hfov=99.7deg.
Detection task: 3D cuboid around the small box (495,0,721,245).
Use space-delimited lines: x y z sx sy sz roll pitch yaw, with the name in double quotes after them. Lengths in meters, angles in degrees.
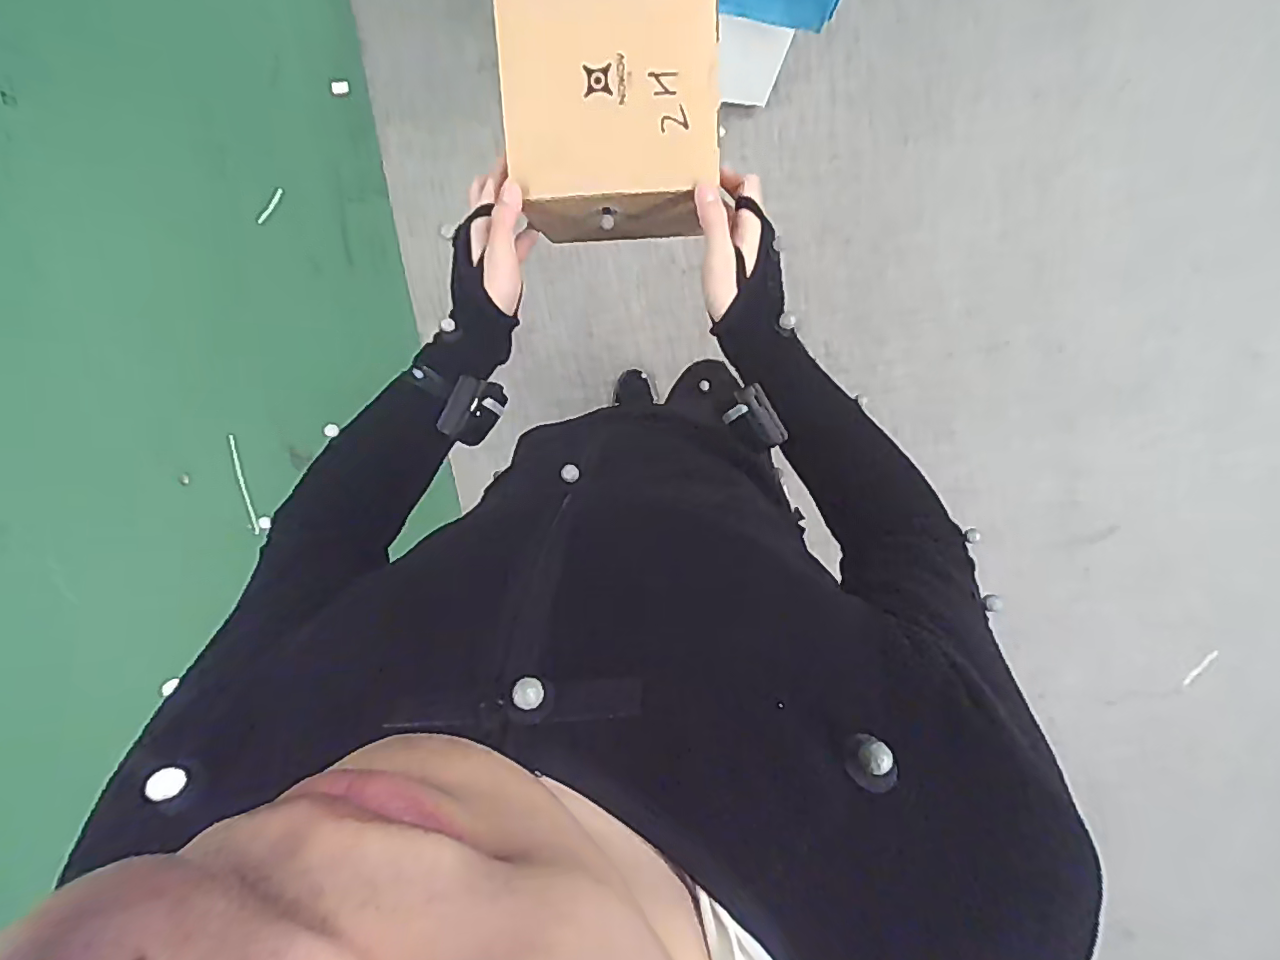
-0.019 -0.326 0.505 0.179 0.176 0.168 -2 102 3 "small box"
